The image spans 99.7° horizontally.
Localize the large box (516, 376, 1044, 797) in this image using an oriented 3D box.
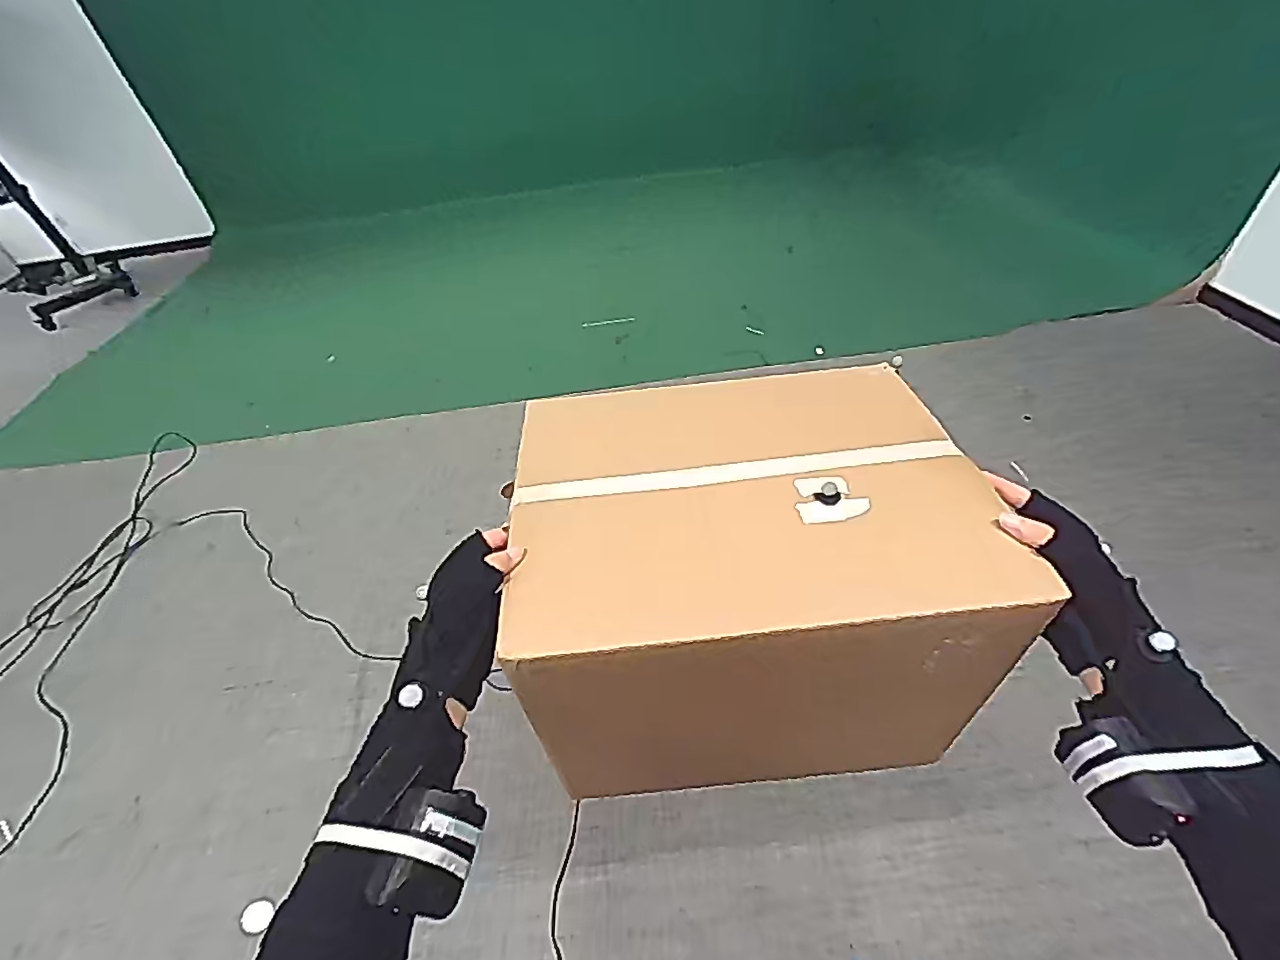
[{"bbox_3d":[0.099,0.114,0.601,0.408,0.320,0.320,-6,44,-1],"label":"large box"}]
